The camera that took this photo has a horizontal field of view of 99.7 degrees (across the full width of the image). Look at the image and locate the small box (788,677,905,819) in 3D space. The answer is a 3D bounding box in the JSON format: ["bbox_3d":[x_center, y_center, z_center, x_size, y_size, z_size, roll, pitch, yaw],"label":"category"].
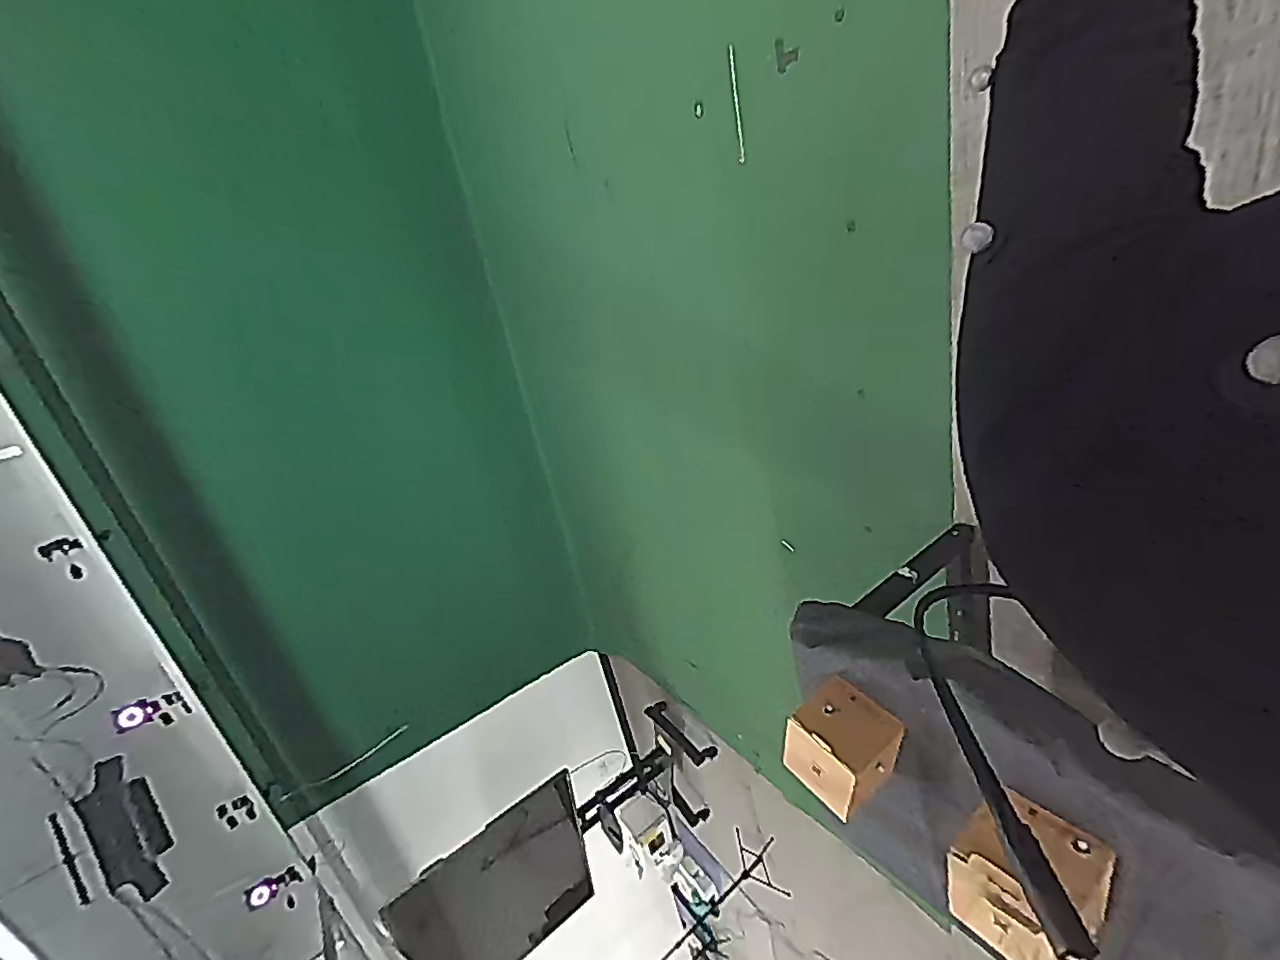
[{"bbox_3d":[0.438,0.560,1.152,0.168,0.176,0.179,33,140,46],"label":"small box"}]

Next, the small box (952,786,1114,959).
[{"bbox_3d":[0.637,0.652,0.882,0.168,0.176,0.179,19,129,54],"label":"small box"}]
